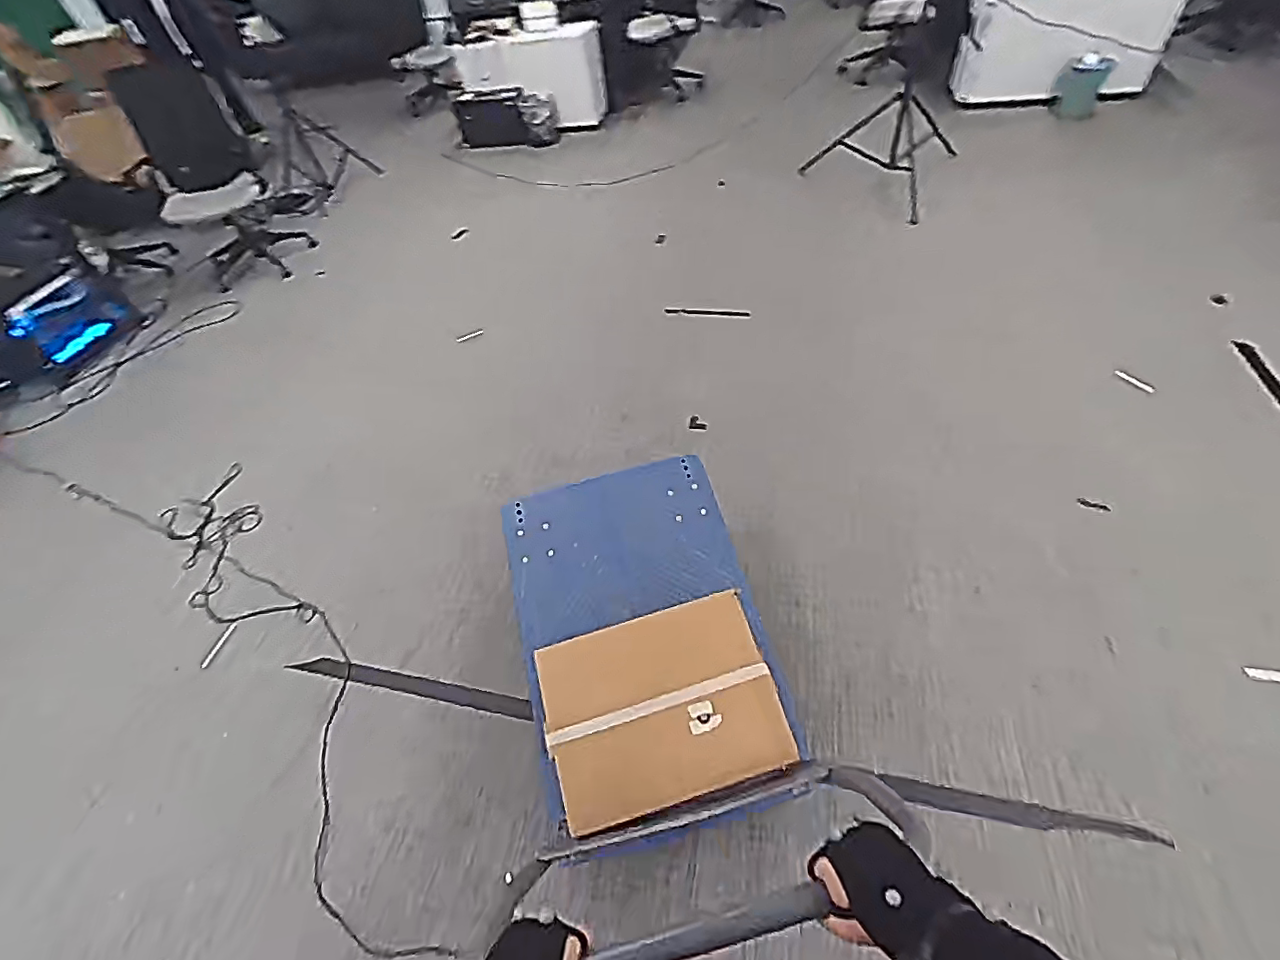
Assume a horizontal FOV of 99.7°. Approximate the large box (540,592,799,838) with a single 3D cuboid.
[{"bbox_3d":[0.049,0.476,1.110,0.408,0.320,0.320,-17,64,-6],"label":"large box"}]
